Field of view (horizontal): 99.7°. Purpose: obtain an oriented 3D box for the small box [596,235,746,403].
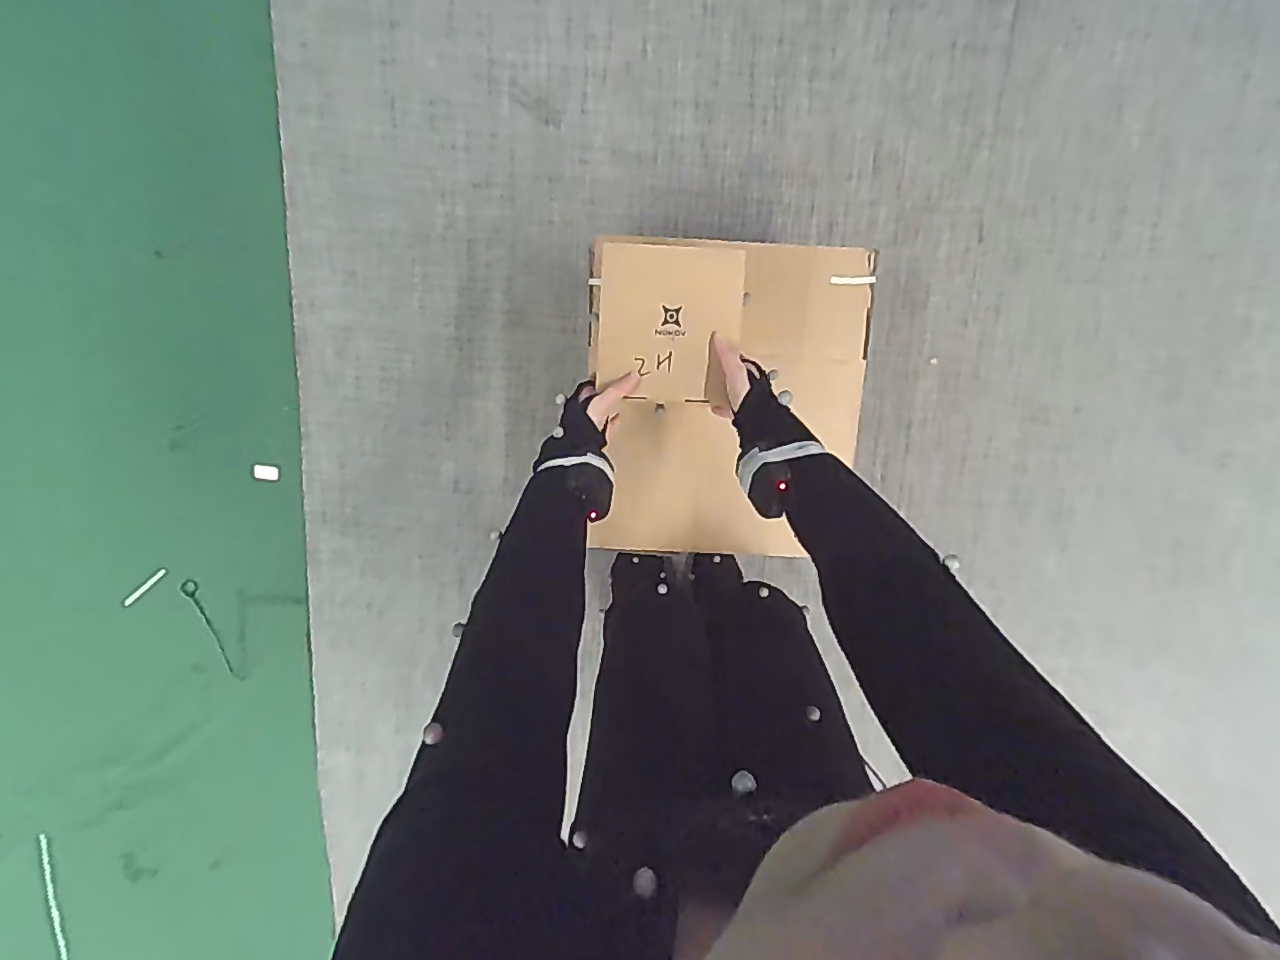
[{"bbox_3d":[0.034,-0.195,0.699,0.168,0.176,0.179,3,96,1],"label":"small box"}]
